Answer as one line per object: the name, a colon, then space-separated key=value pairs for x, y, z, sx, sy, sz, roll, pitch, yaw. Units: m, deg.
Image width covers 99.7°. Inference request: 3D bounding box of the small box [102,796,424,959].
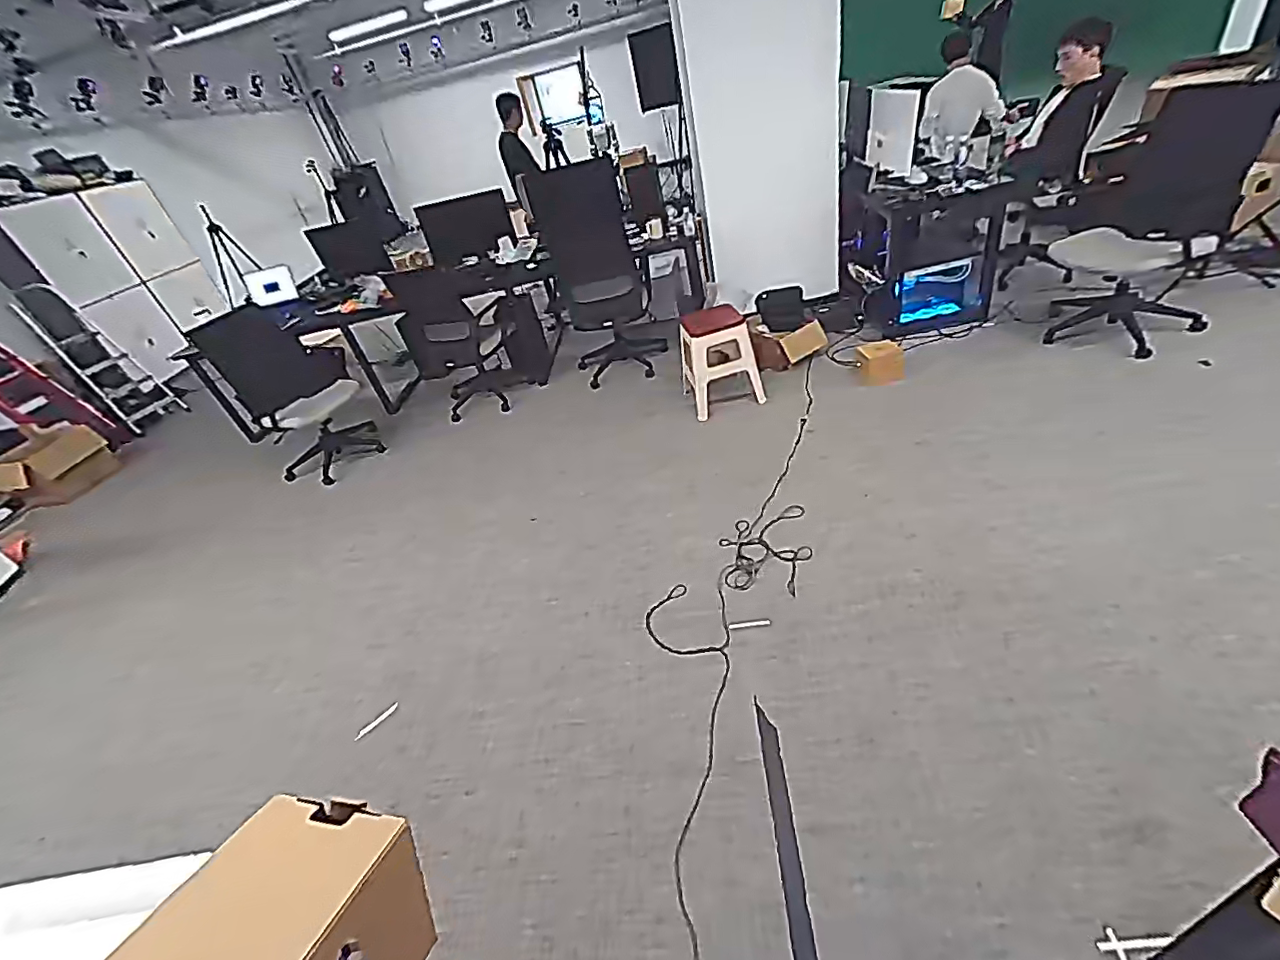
small box: x=-0.323 y=0.437 z=0.494 sx=0.168 sy=0.176 sz=0.179 roll=1 pitch=16 yaw=15
